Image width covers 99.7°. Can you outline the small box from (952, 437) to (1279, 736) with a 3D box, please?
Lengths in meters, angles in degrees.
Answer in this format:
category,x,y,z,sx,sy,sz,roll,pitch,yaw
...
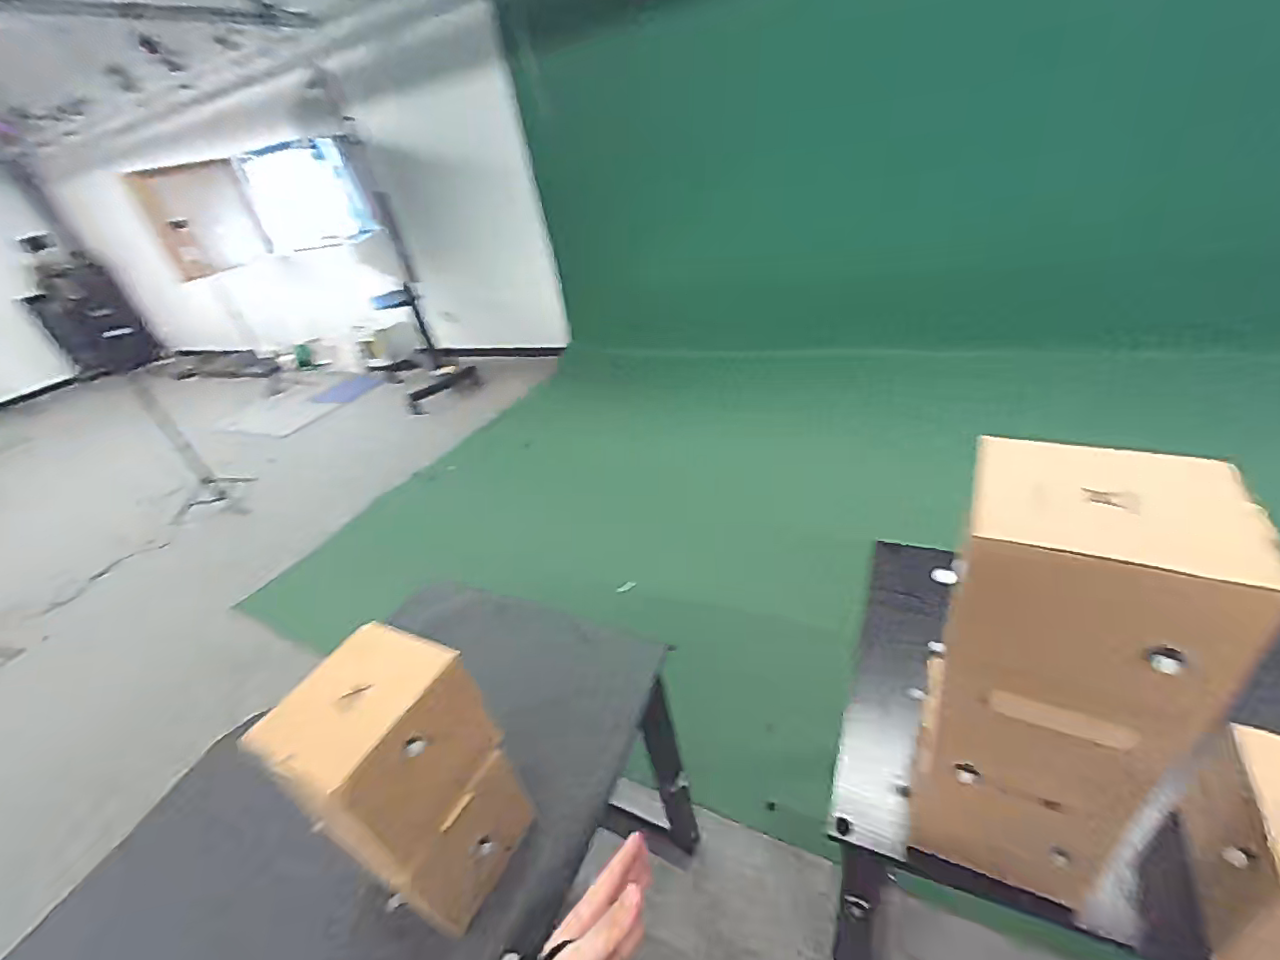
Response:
category,x,y,z,sx,sy,sz,roll,pitch,yaw
small box,0.384,0.083,0.462,0.179,0.176,0.168,9,36,29

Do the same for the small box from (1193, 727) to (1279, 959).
category,x,y,z,sx,sy,sz,roll,pitch,yaw
small box,0.679,0.383,0.512,0.168,0.176,0.179,10,38,29

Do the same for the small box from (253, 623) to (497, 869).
category,x,y,z,sx,sy,sz,roll,pitch,yaw
small box,-0.294,0.308,0.644,0.168,0.176,0.179,6,38,29

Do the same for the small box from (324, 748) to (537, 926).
category,x,y,z,sx,sy,sz,roll,pitch,yaw
small box,-0.265,0.448,0.723,0.179,0.176,0.168,8,38,30

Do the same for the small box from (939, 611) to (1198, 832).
category,x,y,z,sx,sy,sz,roll,pitch,yaw
small box,0.415,0.213,0.555,0.168,0.176,0.179,10,38,29
